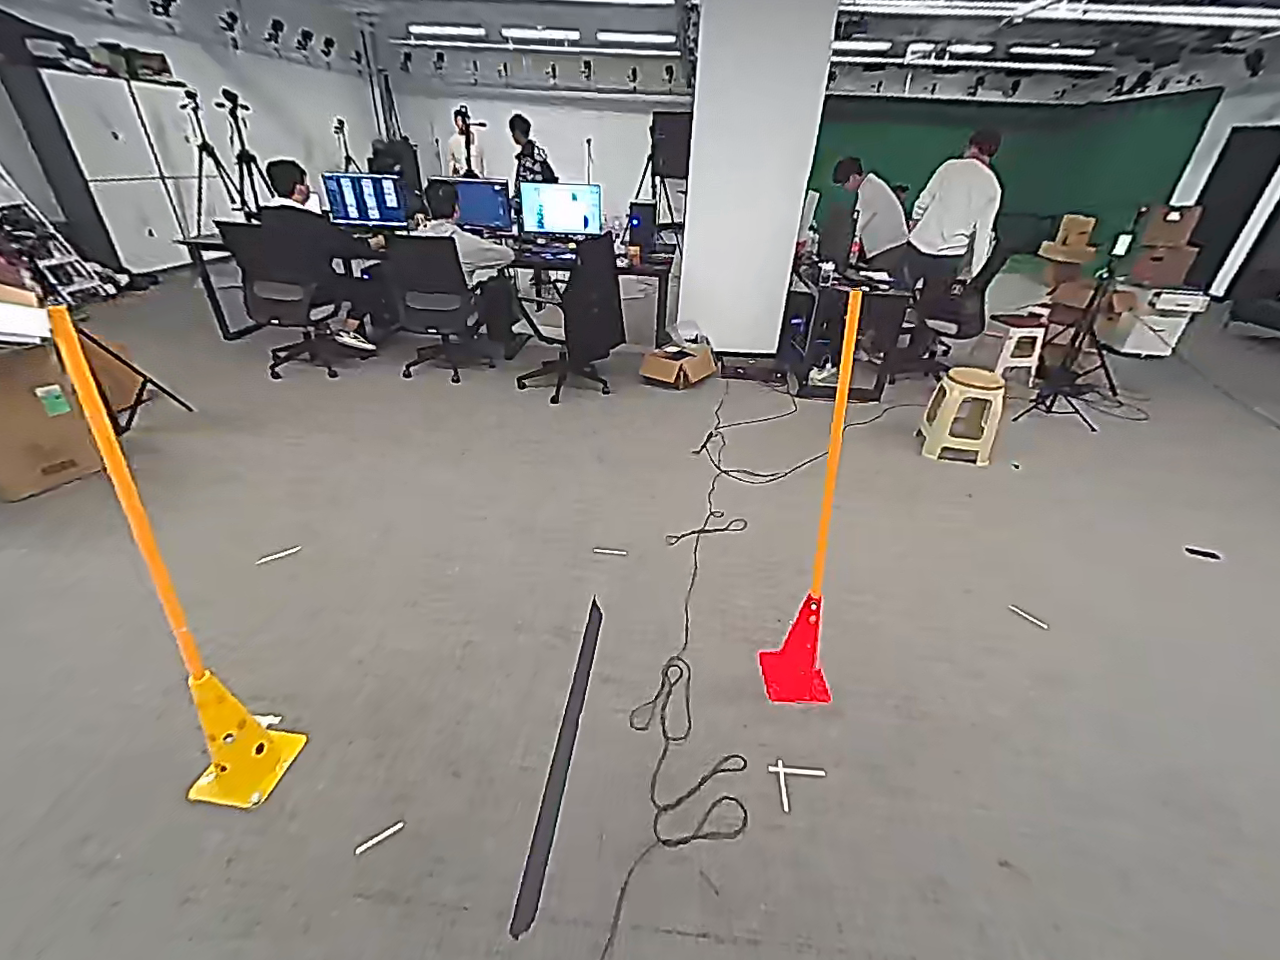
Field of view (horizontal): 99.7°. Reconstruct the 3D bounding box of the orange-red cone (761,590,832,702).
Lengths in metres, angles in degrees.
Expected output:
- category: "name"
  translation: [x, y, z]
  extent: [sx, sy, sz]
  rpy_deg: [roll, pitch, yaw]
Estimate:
- category: "orange-red cone"
  translation: [0.501, 0.482, 1.648]
  extent: [0.199, 0.360, 0.198]
  rpy_deg: [1, 30, 0]
